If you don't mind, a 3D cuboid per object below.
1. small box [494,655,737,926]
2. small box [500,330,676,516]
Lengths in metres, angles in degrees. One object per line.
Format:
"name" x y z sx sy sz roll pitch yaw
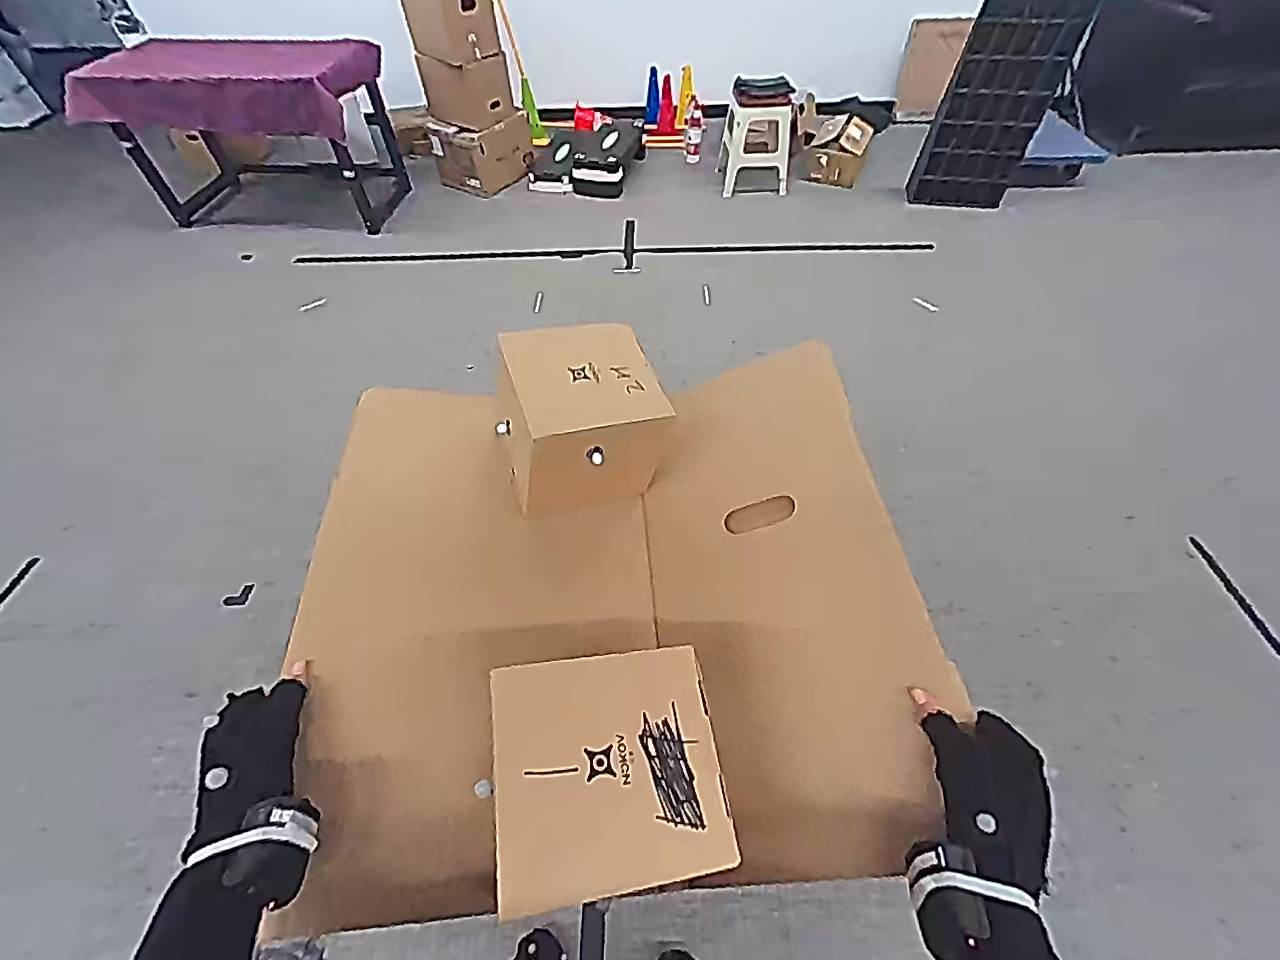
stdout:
"small box" -0.039 0.267 0.483 0.179 0.176 0.168 -2 57 -15
"small box" -0.079 -0.071 0.704 0.179 0.176 0.168 -10 60 -22
